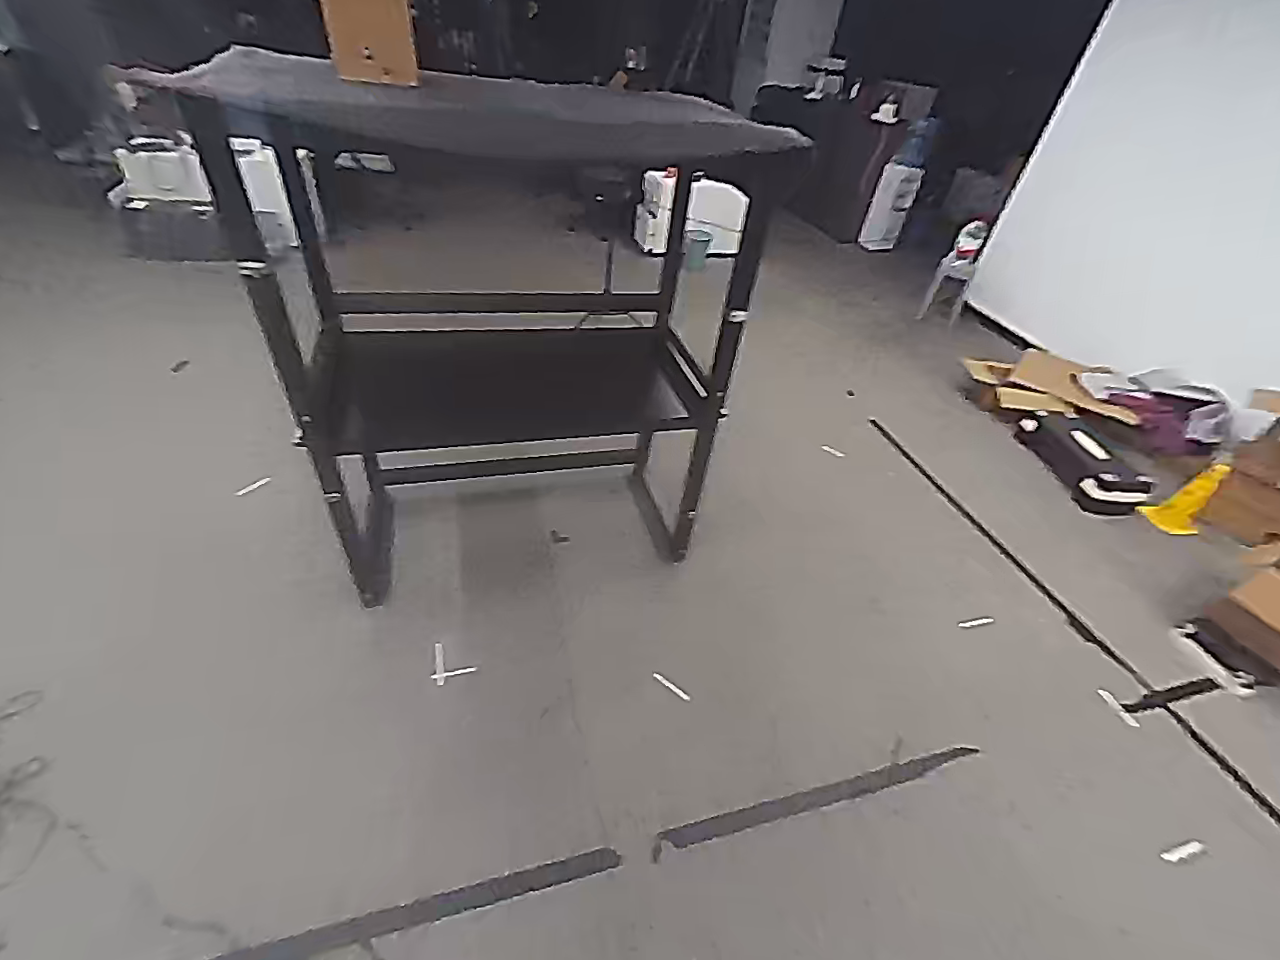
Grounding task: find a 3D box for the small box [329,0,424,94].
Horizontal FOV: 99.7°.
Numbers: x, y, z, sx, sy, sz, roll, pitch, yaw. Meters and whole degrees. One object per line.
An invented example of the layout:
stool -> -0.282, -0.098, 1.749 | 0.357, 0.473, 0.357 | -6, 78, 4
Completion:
small box -> -0.583, -0.985, 1.207 | 0.168, 0.176, 0.179 | -7, 44, -17
